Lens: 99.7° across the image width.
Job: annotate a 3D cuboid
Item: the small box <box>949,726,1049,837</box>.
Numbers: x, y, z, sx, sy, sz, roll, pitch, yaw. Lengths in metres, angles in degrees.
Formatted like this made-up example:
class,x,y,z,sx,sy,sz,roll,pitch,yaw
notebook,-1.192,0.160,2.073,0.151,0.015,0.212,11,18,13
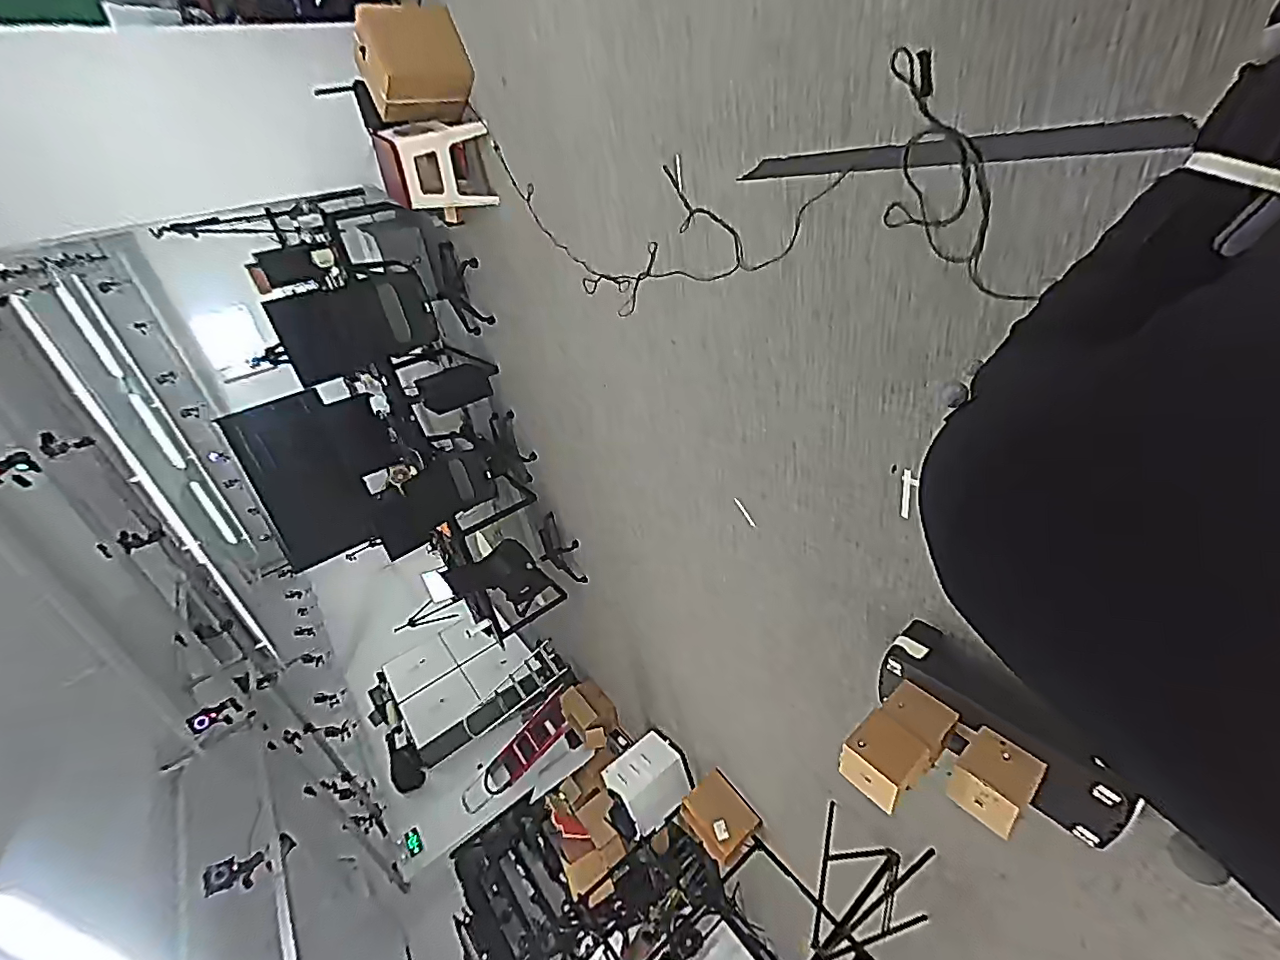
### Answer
class,x,y,z,sx,sy,sz,roll,pitch,yaw
small box,1.000,0.835,1.508,0.168,0.176,0.179,30,139,45

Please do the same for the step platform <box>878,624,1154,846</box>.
class,x,y,z,sx,sy,sz,roll,pitch,yaw
step platform,1.087,0.748,1.657,0.684,0.204,0.286,27,138,46

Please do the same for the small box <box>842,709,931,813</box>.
class,x,y,z,sx,sy,sz,roll,pitch,yaw
small box,0.730,0.825,1.602,0.179,0.176,0.168,32,141,45
